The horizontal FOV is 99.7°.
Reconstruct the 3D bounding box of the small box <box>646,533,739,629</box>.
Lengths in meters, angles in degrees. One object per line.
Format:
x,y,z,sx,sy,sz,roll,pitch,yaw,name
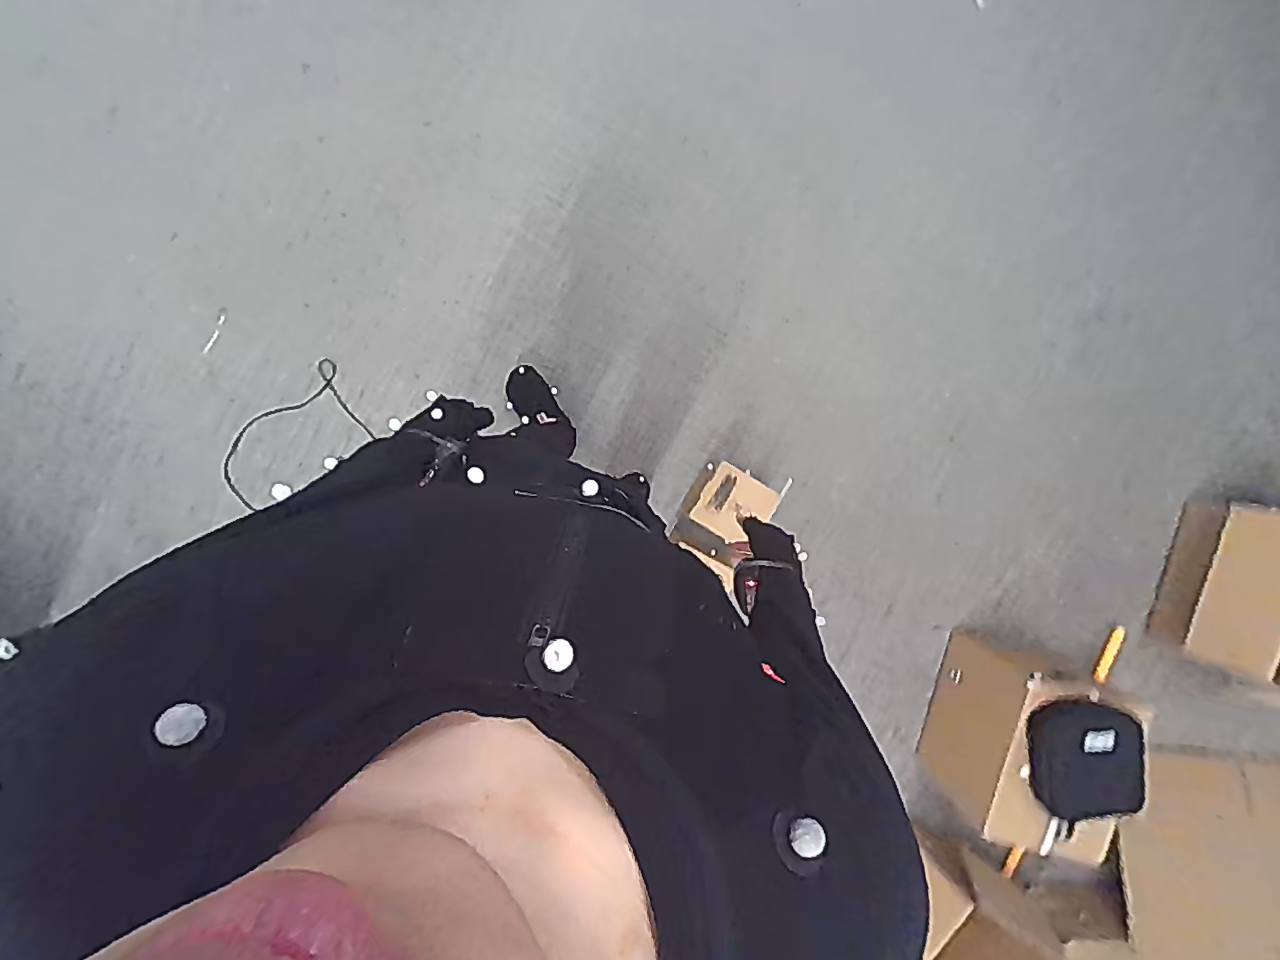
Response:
0.130,0.255,1.419,0.179,0.176,0.168,29,94,-4,small box
